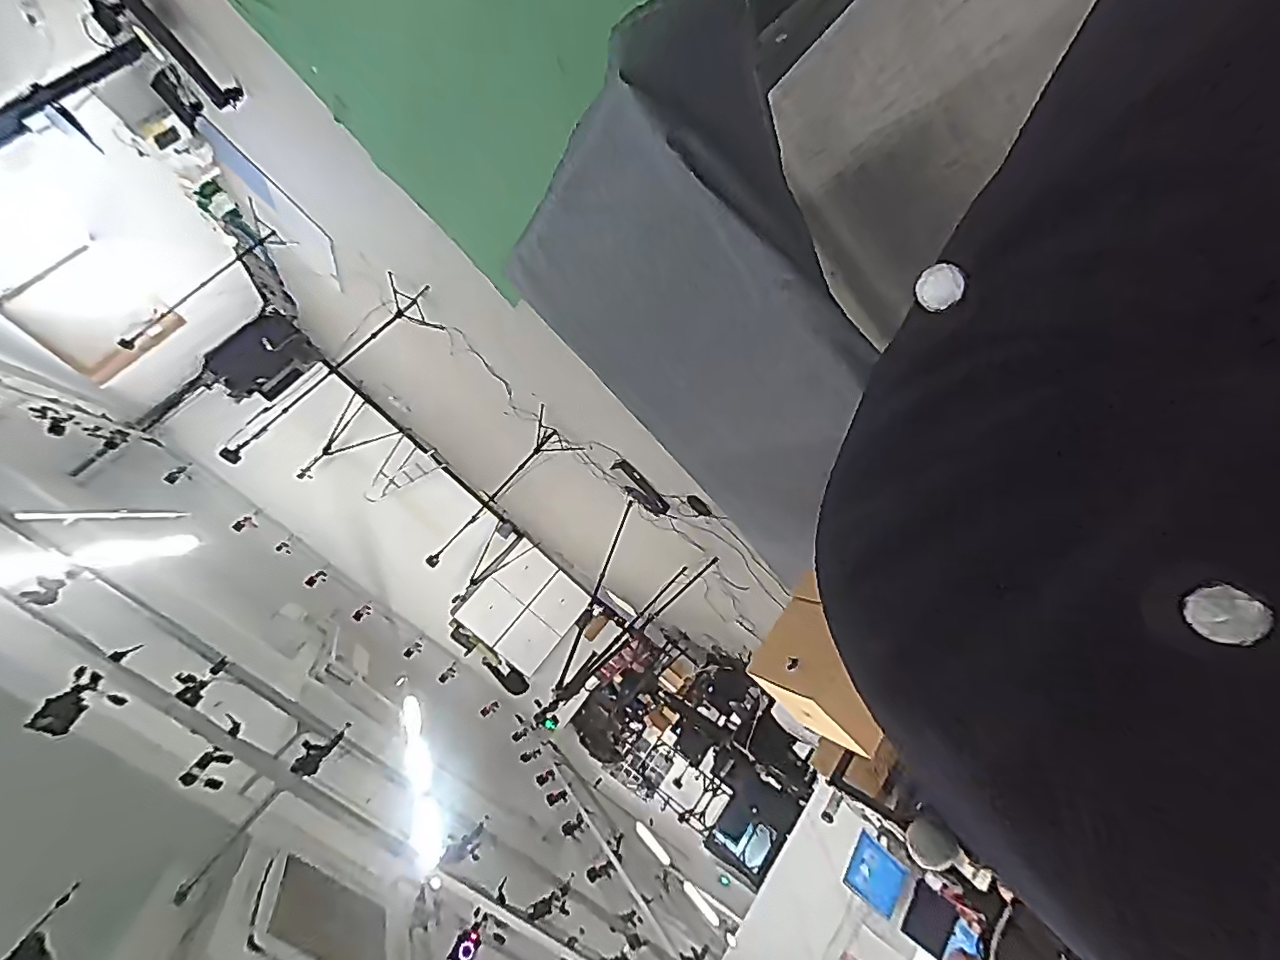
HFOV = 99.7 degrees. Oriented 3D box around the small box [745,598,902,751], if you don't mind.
[{"bbox_3d":[0.326,0.327,0.947,0.168,0.176,0.179,46,160,-16],"label":"small box"}]
